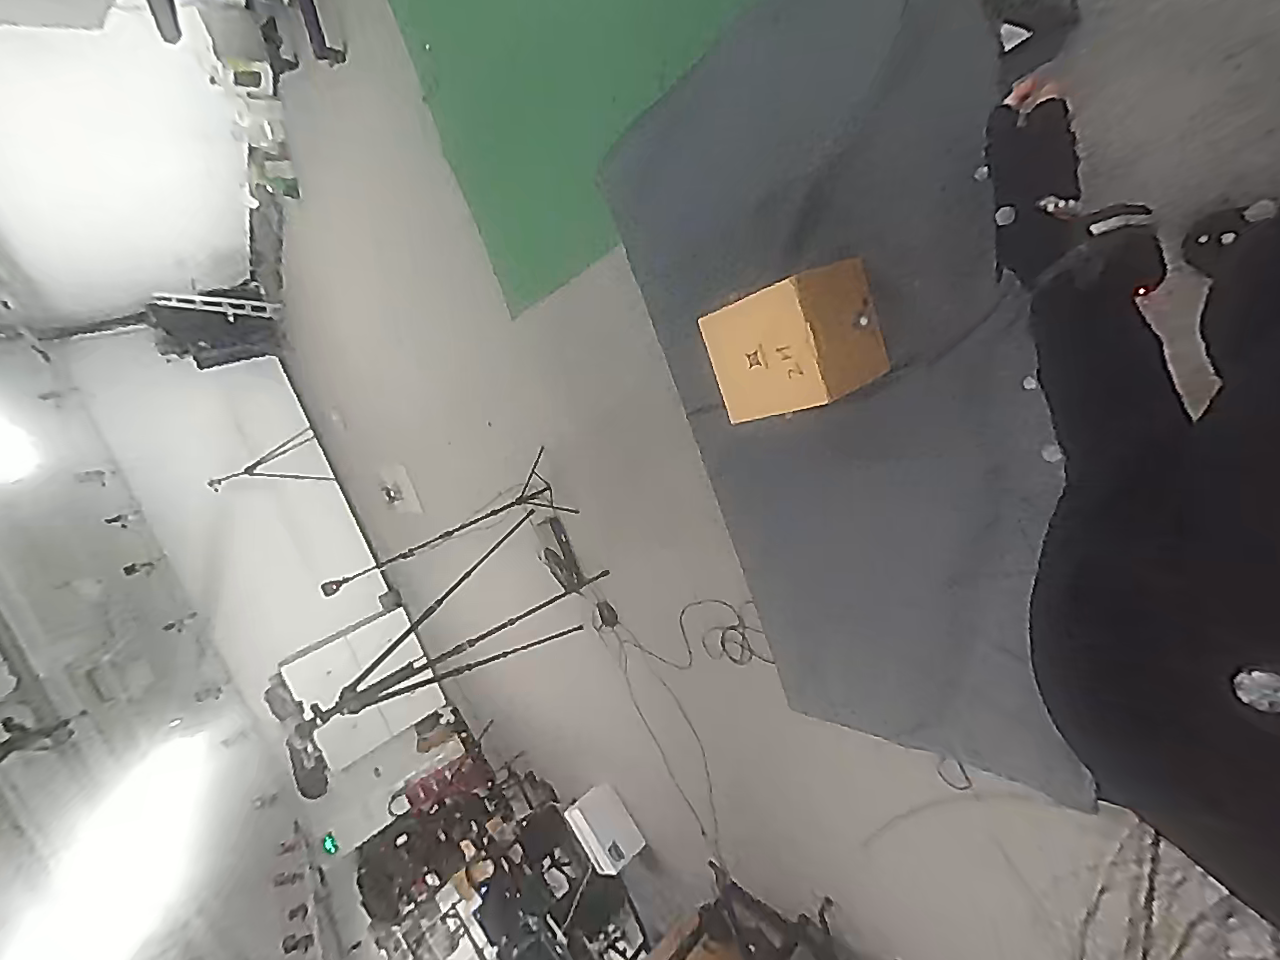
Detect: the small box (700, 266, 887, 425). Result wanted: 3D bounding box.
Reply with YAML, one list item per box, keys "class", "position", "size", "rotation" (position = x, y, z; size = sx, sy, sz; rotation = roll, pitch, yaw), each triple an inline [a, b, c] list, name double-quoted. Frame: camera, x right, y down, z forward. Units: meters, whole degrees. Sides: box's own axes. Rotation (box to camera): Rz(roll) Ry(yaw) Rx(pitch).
- class: "small box"
  position: [0.224, -0.192, 0.787]
  size: [0.179, 0.176, 0.168]
  rotation: [-8, 106, 53]
